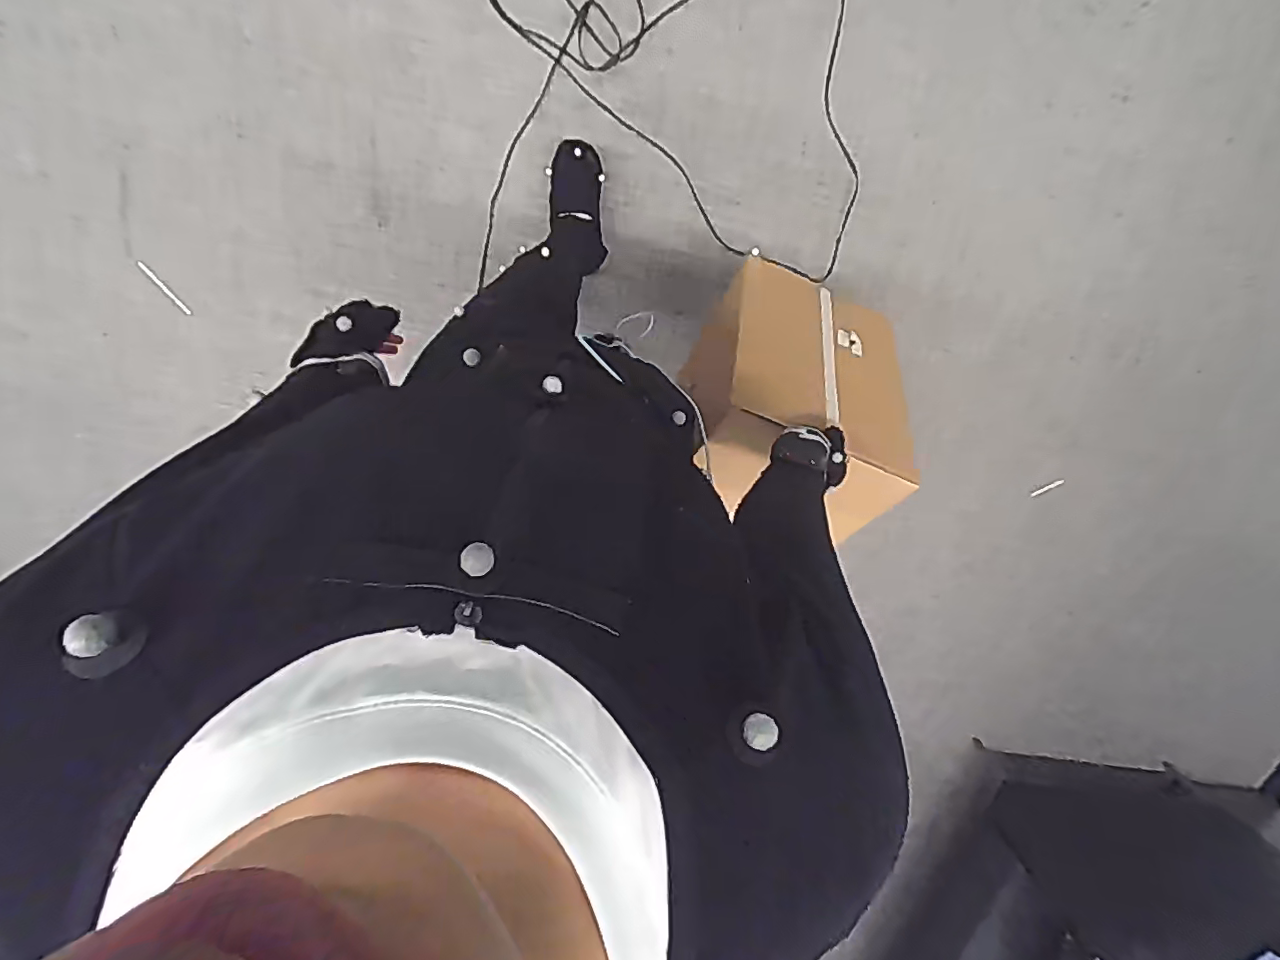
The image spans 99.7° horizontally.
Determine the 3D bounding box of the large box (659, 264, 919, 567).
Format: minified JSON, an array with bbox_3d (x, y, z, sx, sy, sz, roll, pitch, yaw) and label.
[{"bbox_3d":[0.251,-0.111,1.004,0.320,0.408,0.320,21,141,-11],"label":"large box"}]
